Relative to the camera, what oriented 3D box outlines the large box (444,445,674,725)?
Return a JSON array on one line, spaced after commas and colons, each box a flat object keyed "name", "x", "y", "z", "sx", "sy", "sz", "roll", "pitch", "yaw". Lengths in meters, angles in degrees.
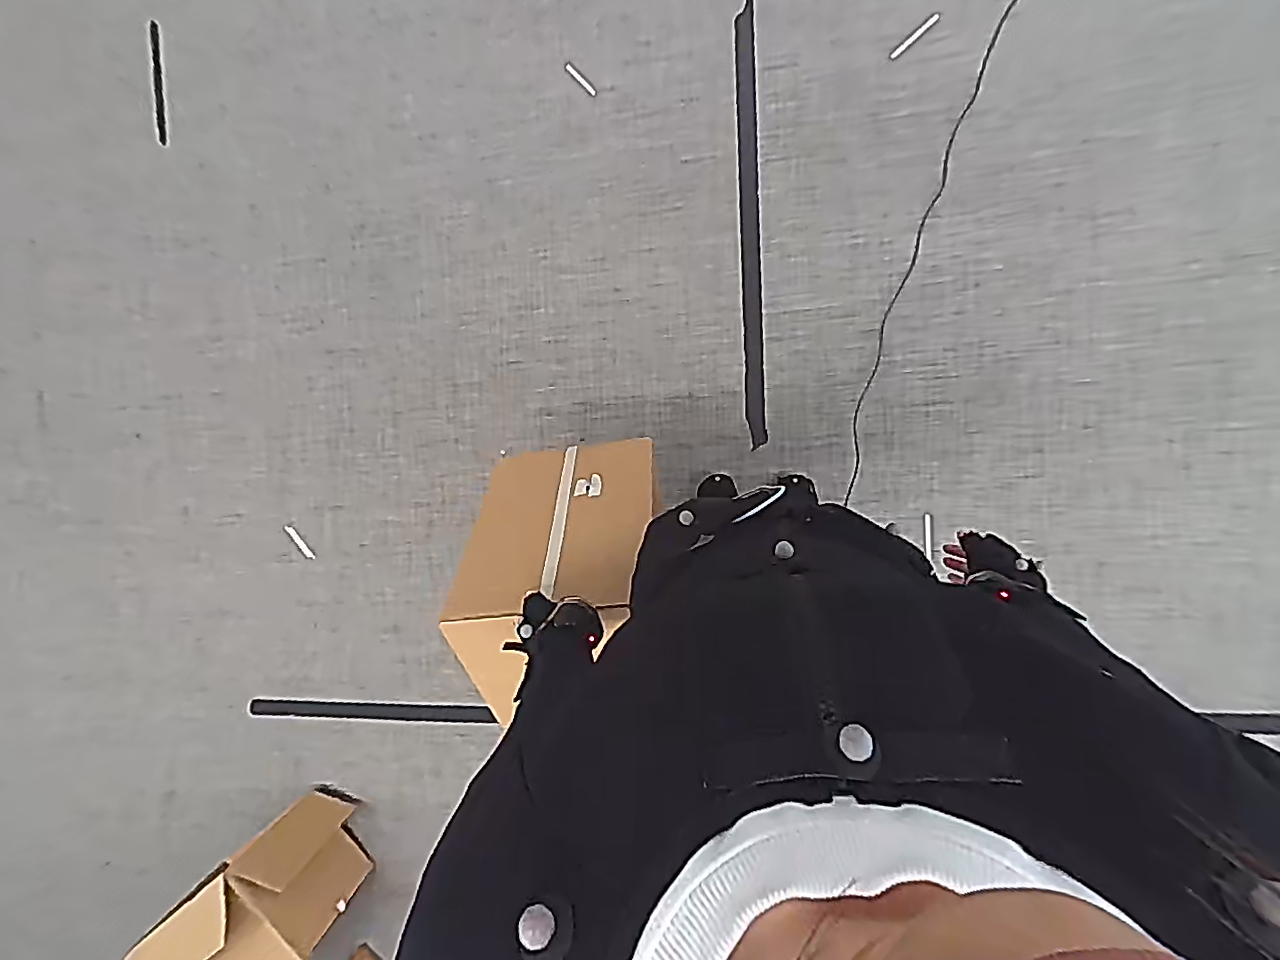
[{"name": "large box", "x": -0.114, "y": 0.186, "z": 1.017, "sx": 0.320, "sy": 0.408, "sz": 0.320, "roll": -6, "pitch": 127, "yaw": 6}]
